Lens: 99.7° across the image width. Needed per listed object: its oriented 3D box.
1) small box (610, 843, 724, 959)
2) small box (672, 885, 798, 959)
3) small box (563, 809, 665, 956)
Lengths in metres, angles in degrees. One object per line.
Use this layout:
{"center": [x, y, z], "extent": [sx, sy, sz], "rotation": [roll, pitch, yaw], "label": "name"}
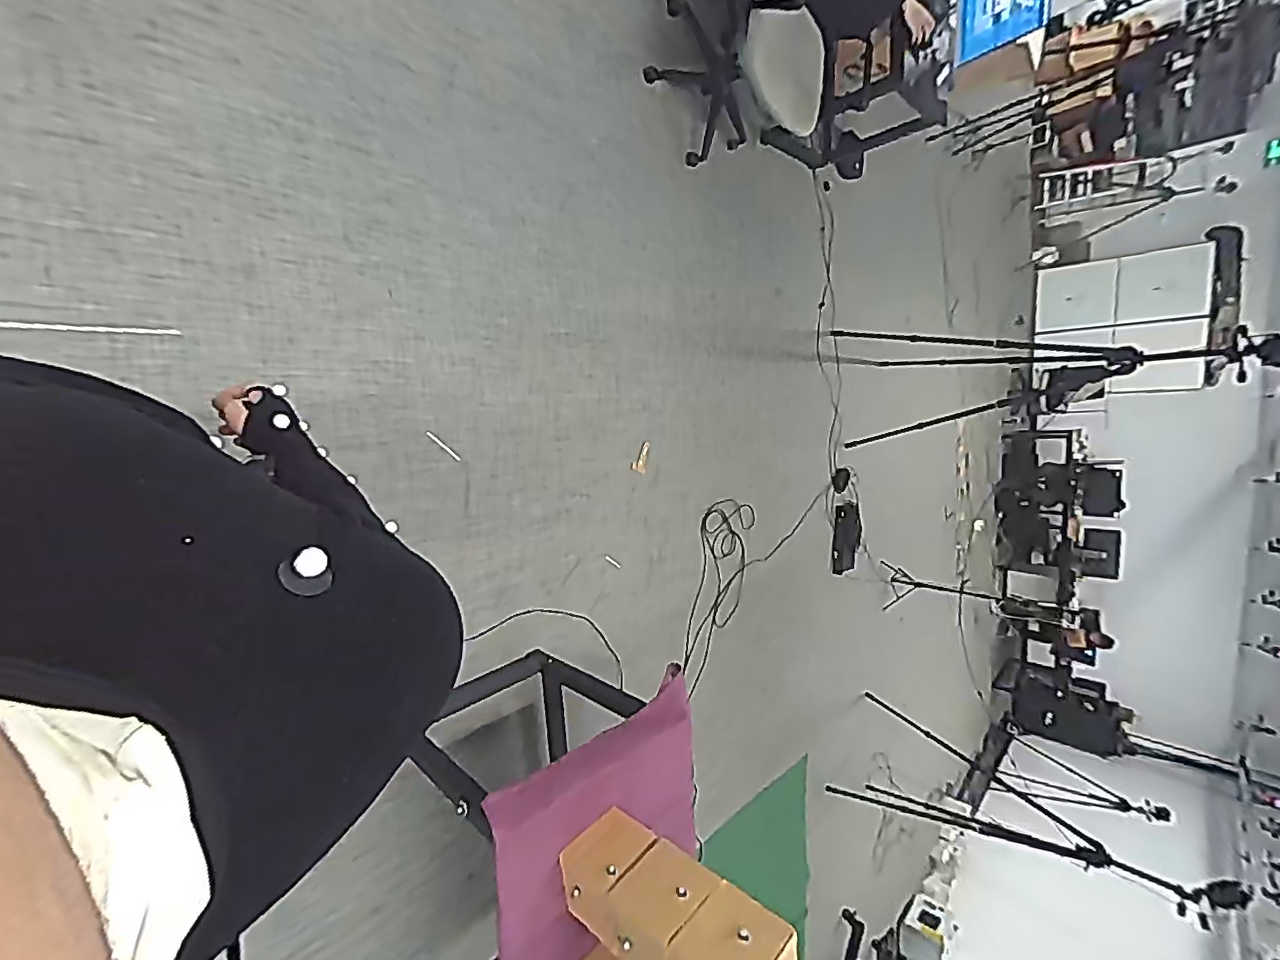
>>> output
{"center": [0.062, 0.911, 1.124], "extent": [0.179, 0.176, 0.168], "rotation": [-18, 106, -43], "label": "small box"}
{"center": [0.180, 0.922, 1.010], "extent": [0.179, 0.176, 0.168], "rotation": [-15, 104, -44], "label": "small box"}
{"center": [-0.054, 0.908, 1.242], "extent": [0.179, 0.176, 0.168], "rotation": [-17, 106, -43], "label": "small box"}
